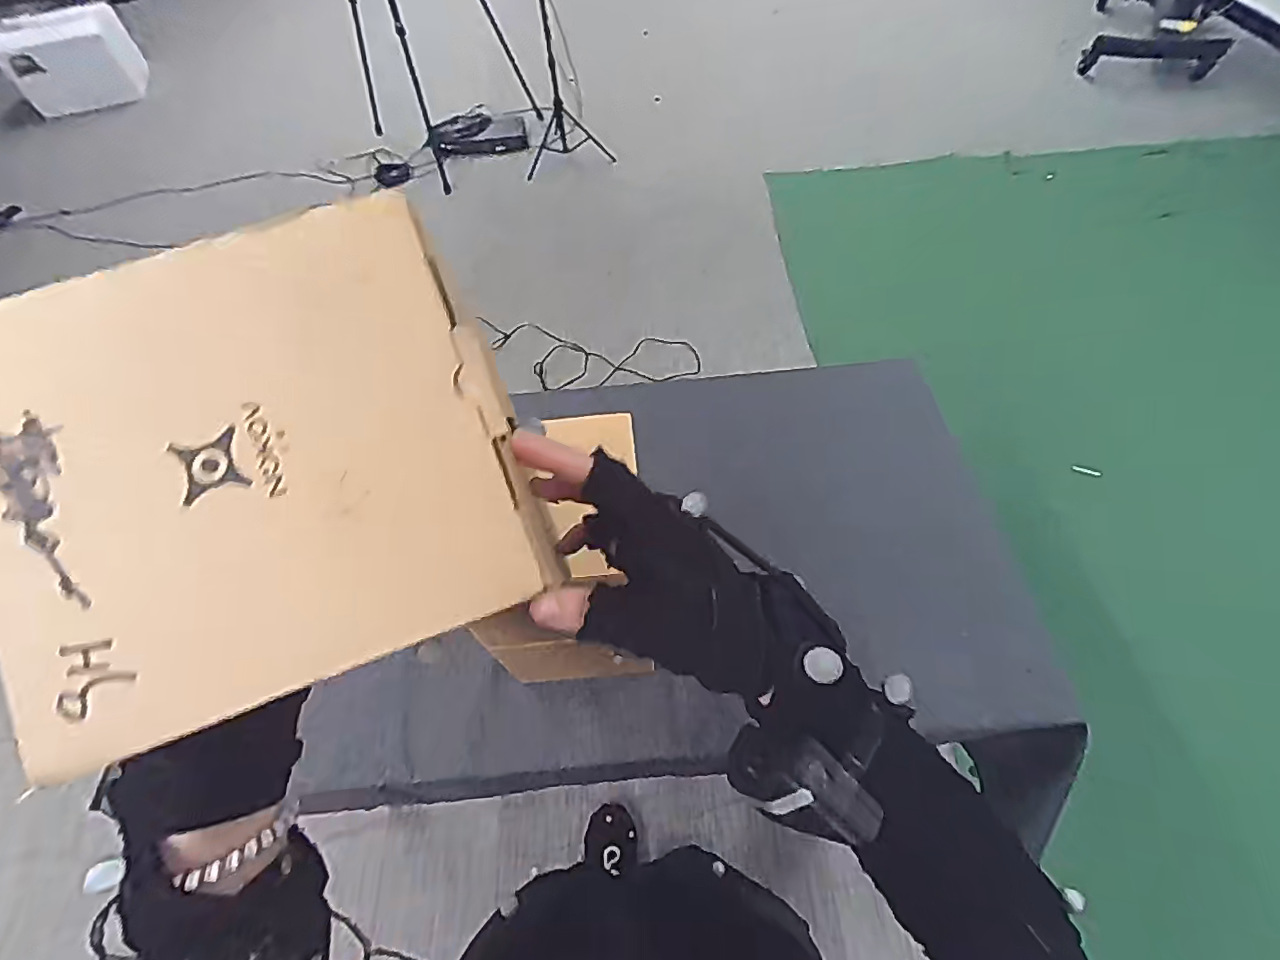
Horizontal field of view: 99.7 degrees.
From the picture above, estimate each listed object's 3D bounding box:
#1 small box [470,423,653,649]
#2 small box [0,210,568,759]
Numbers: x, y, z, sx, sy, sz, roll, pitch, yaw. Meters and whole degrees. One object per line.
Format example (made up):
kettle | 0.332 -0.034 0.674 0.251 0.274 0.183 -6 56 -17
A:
small box | -0.080 0.063 0.549 0.179 0.176 0.168 -6 57 -1
small box | -0.142 0.004 0.279 0.179 0.176 0.168 -19 82 -7
